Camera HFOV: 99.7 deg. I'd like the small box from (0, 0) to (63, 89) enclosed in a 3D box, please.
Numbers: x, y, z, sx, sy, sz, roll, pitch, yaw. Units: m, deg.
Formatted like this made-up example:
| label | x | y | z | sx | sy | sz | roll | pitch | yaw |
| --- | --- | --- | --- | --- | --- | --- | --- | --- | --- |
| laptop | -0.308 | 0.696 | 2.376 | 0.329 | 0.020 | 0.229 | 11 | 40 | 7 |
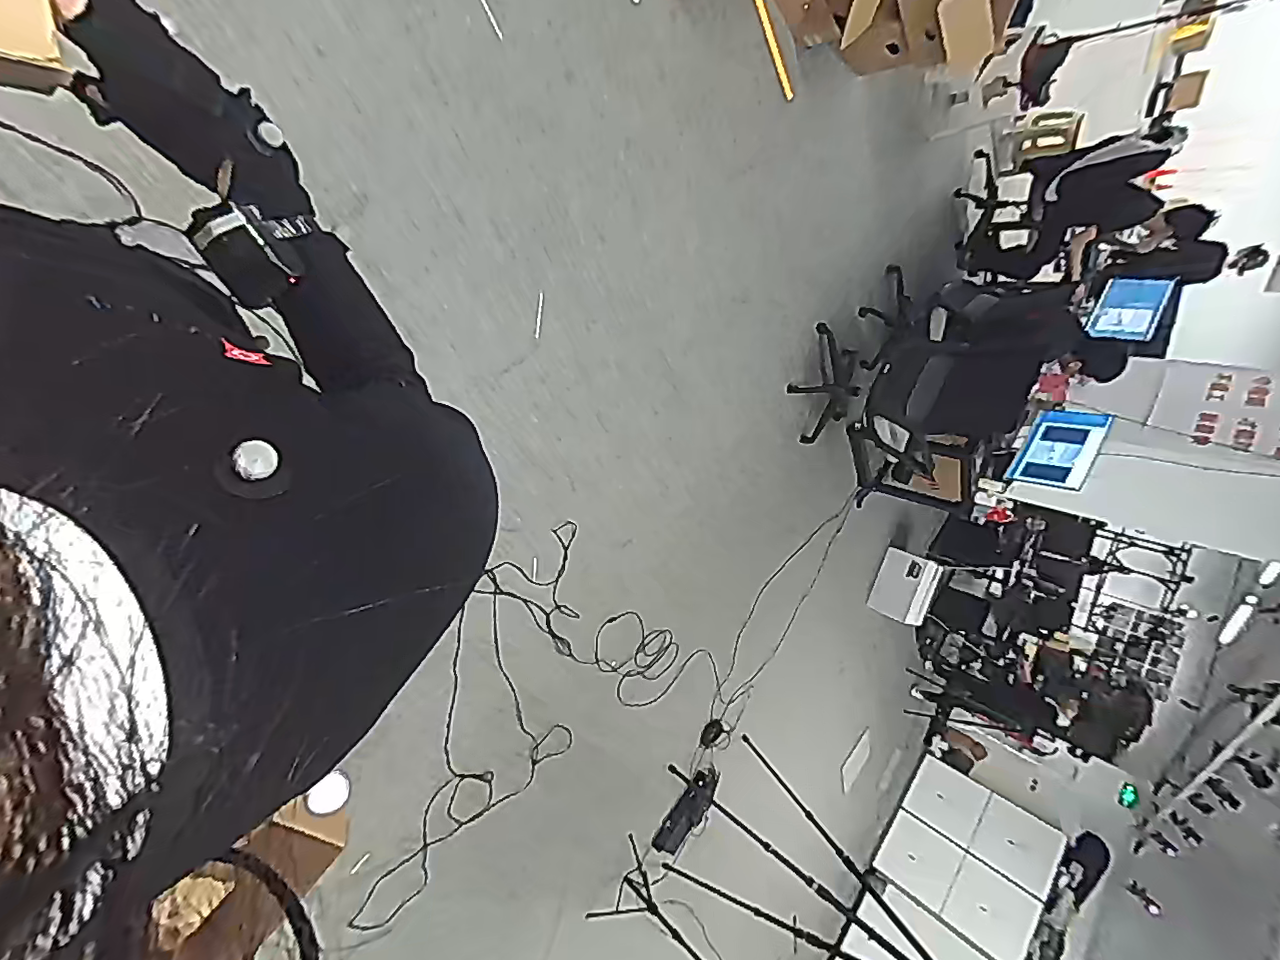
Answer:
| label | x | y | z | sx | sy | sz | roll | pitch | yaw |
| --- | --- | --- | --- | --- | --- | --- | --- | --- | --- |
| small box | -0.423 | -0.320 | 0.260 | 0.168 | 0.176 | 0.179 | -16 | 122 | -44 |
